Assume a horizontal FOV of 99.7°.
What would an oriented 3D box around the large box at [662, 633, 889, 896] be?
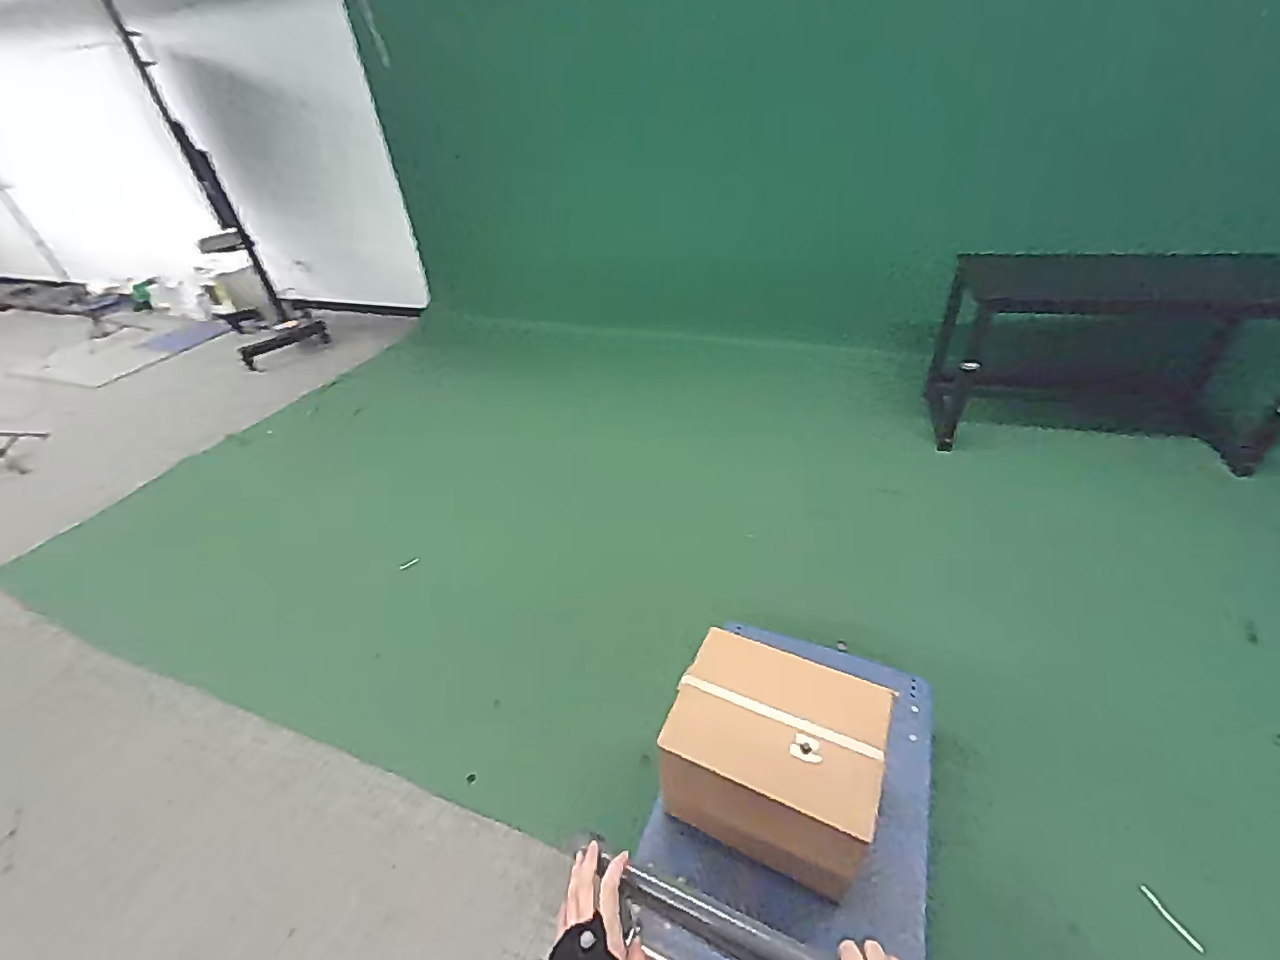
[{"bbox_3d":[0.289,0.609,1.196,0.408,0.320,0.320,15,41,23],"label":"large box"}]
